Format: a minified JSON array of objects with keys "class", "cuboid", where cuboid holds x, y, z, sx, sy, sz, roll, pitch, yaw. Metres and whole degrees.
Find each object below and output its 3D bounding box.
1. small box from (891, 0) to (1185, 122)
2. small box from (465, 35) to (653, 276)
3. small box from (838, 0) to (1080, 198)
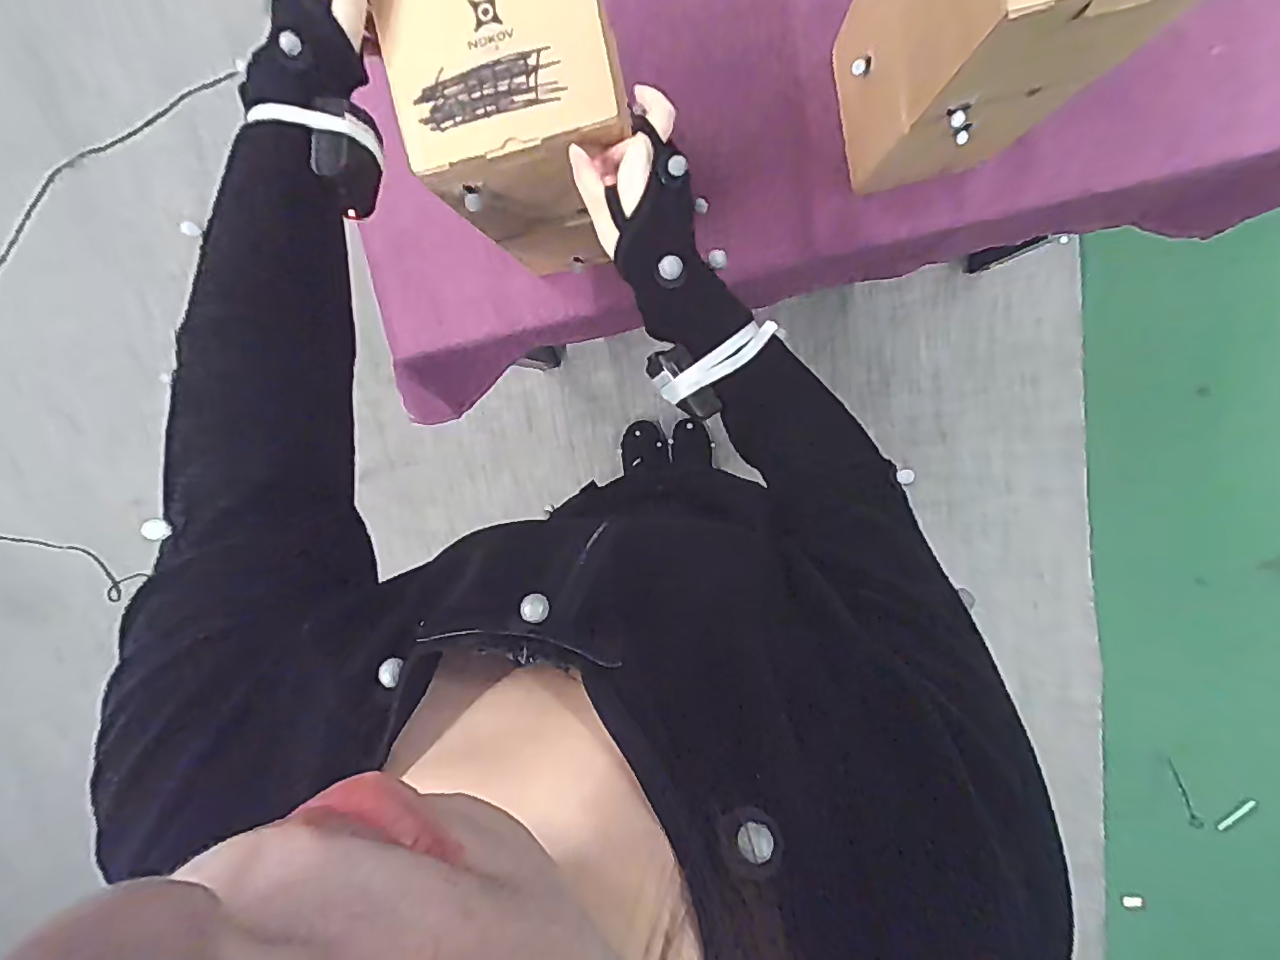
[{"class":"small box","cuboid":[0.314,-0.419,0.427,0.168,0.176,0.179,-11,97,6]},{"class":"small box","cuboid":[-0.081,-0.362,0.639,0.168,0.176,0.179,-10,98,7]},{"class":"small box","cuboid":[0.328,-0.443,0.589,0.168,0.176,0.179,-10,97,8]}]
